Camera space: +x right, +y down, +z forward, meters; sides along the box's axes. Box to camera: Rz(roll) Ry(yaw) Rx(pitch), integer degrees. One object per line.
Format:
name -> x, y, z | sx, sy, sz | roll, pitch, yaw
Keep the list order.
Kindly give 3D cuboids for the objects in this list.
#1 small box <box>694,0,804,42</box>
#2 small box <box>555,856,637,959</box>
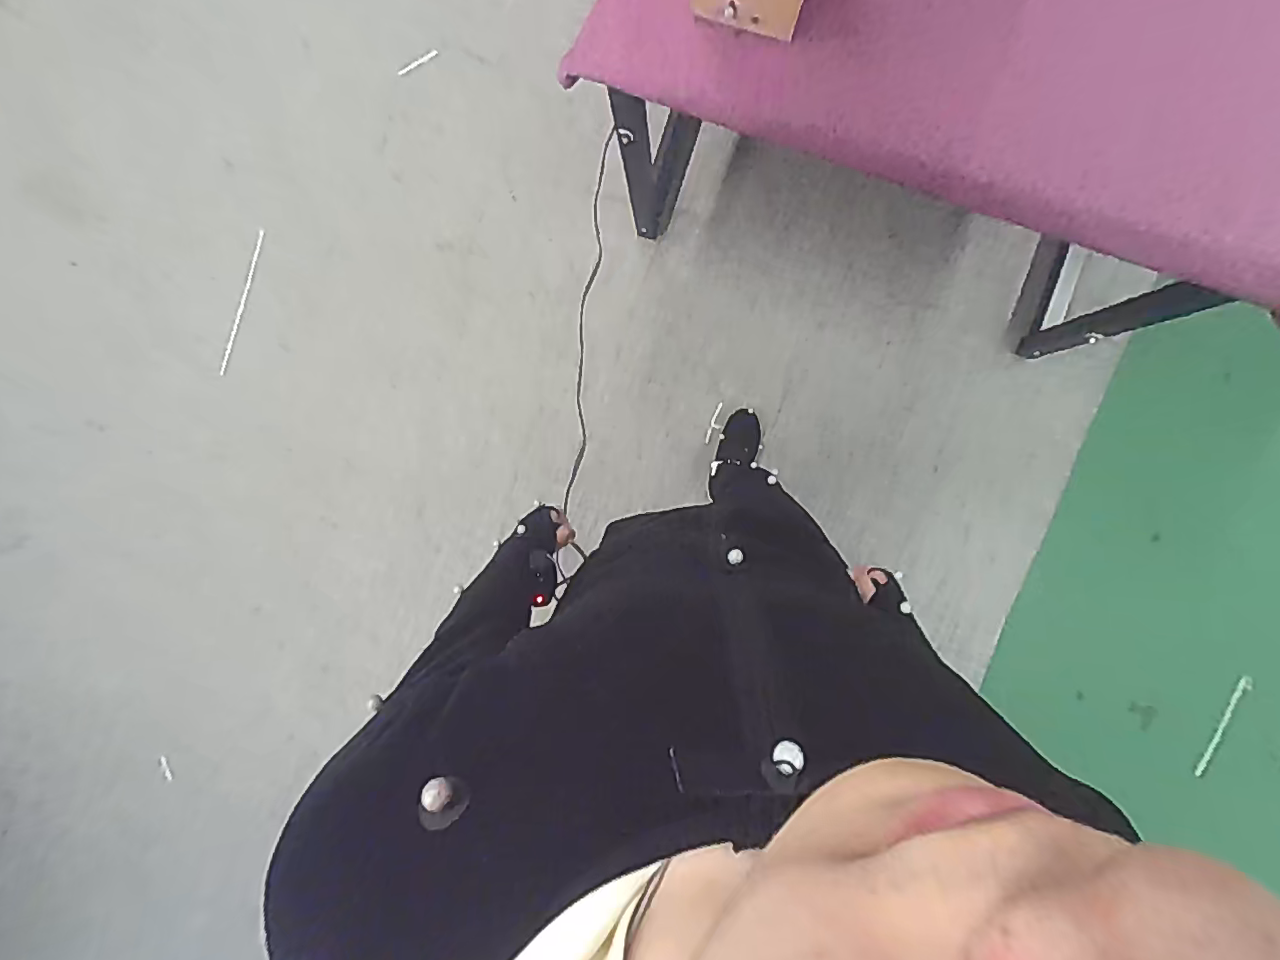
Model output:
small box -> 0.176, -0.785, 0.765 | 0.168, 0.176, 0.179 | 19, 94, 4
small box -> -0.119, 1.243, 1.552 | 0.168, 0.176, 0.179 | 25, 96, 4
